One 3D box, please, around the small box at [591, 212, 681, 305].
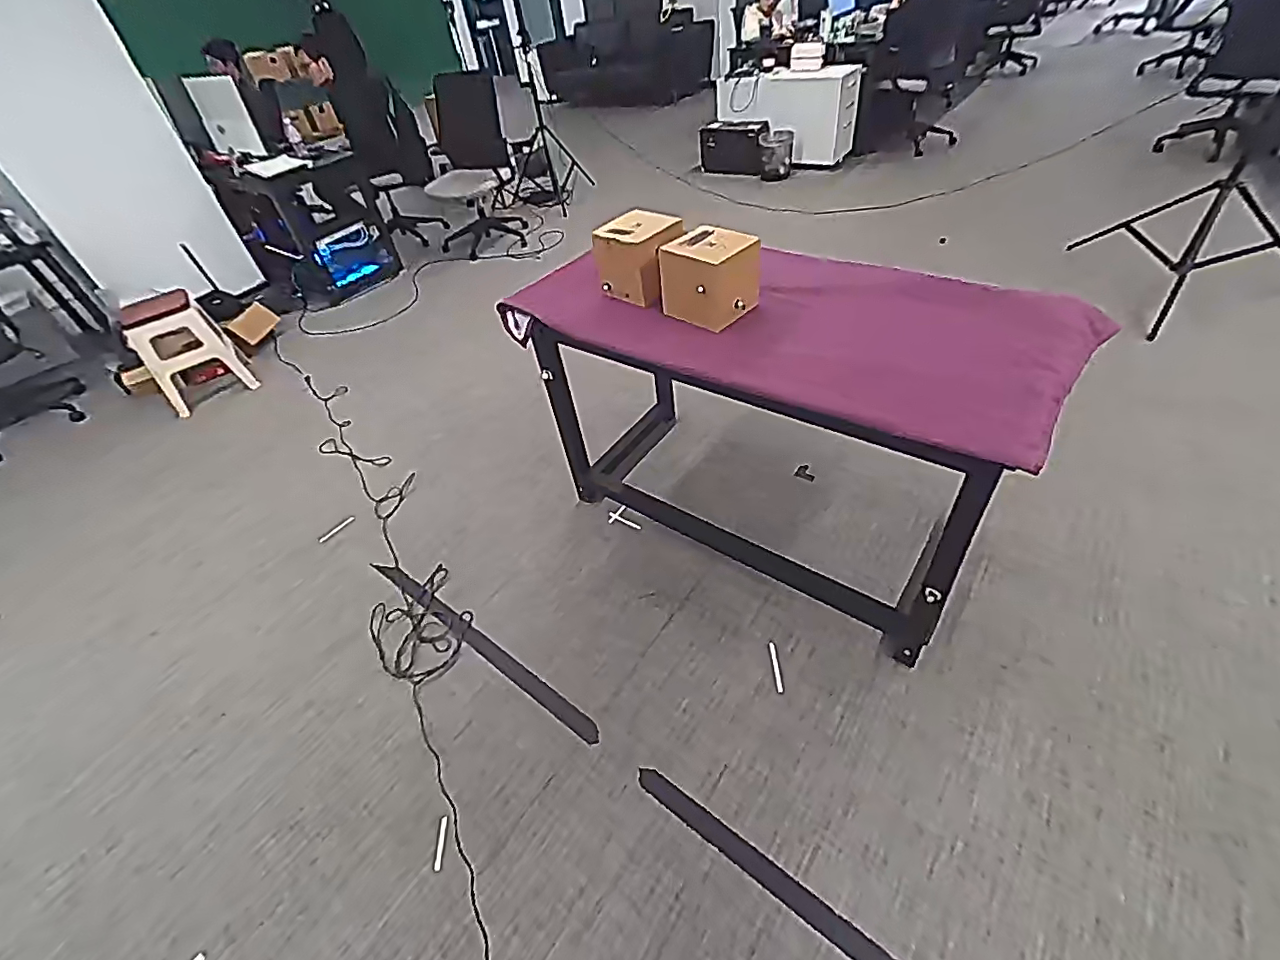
[{"bbox_3d":[-0.002,-0.590,1.446,0.168,0.176,0.179,30,56,33],"label":"small box"}]
